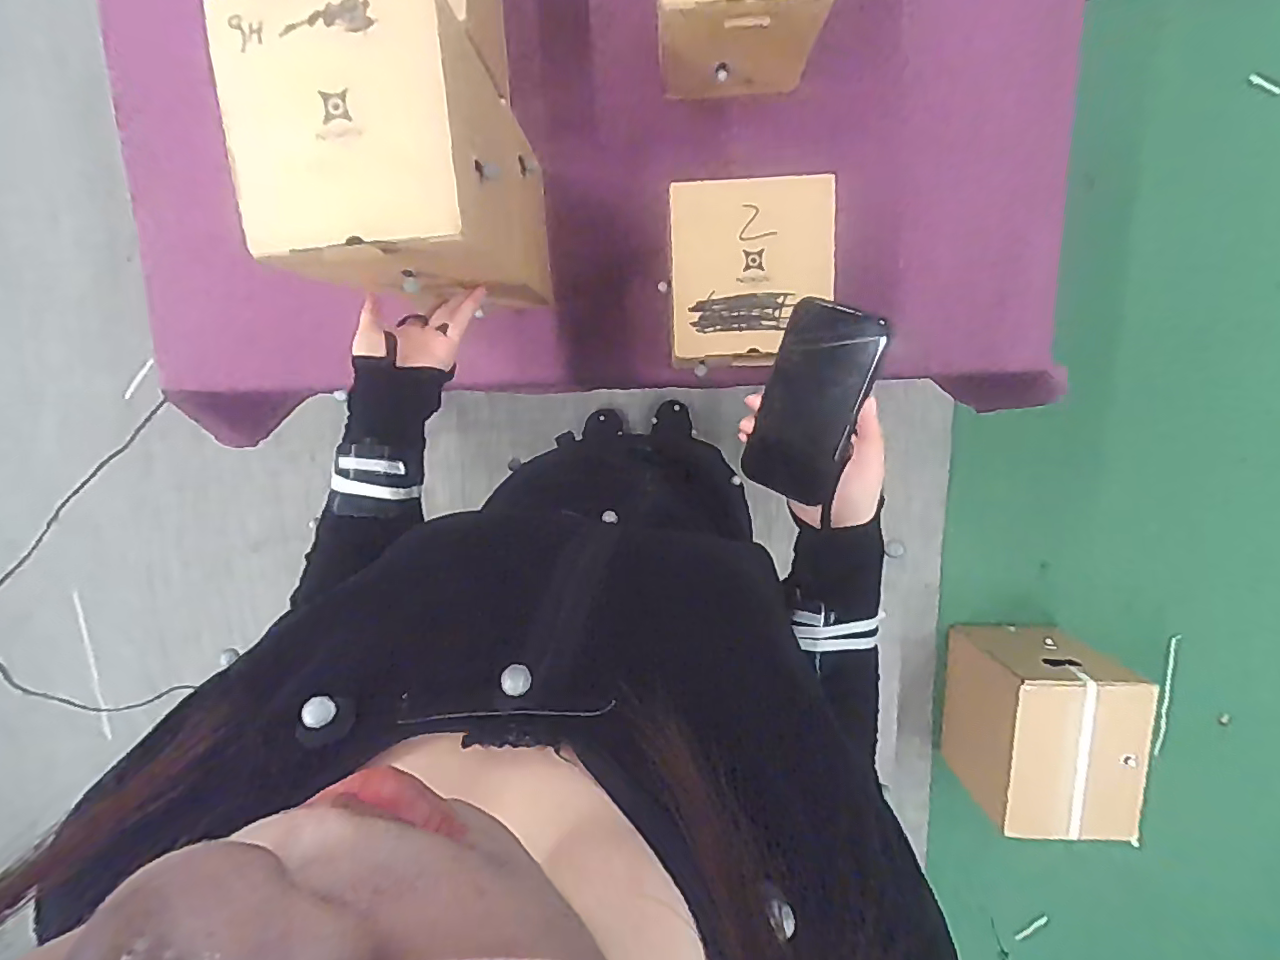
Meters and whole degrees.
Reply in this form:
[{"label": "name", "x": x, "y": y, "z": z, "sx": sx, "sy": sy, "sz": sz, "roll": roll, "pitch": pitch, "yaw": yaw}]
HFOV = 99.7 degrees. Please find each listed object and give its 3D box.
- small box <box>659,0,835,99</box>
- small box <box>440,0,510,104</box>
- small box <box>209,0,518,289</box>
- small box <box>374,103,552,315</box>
[{"label": "small box", "x": 0.104, "y": -0.550, "z": 0.578, "sx": 0.168, "sy": 0.176, "sz": 0.179, "roll": -3, "pitch": 100, "yaw": 3}, {"label": "small box", "x": -0.245, "y": -0.535, "z": 0.593, "sx": 0.168, "sy": 0.176, "sz": 0.179, "roll": -1, "pitch": 99, "yaw": 1}, {"label": "small box", "x": -0.212, "y": -0.268, "z": 0.468, "sx": 0.168, "sy": 0.176, "sz": 0.179, "roll": -4, "pitch": 100, "yaw": 2}, {"label": "small box", "x": -0.203, "y": -0.298, "z": 0.630, "sx": 0.168, "sy": 0.176, "sz": 0.179, "roll": -3, "pitch": 99, "yaw": 3}]
